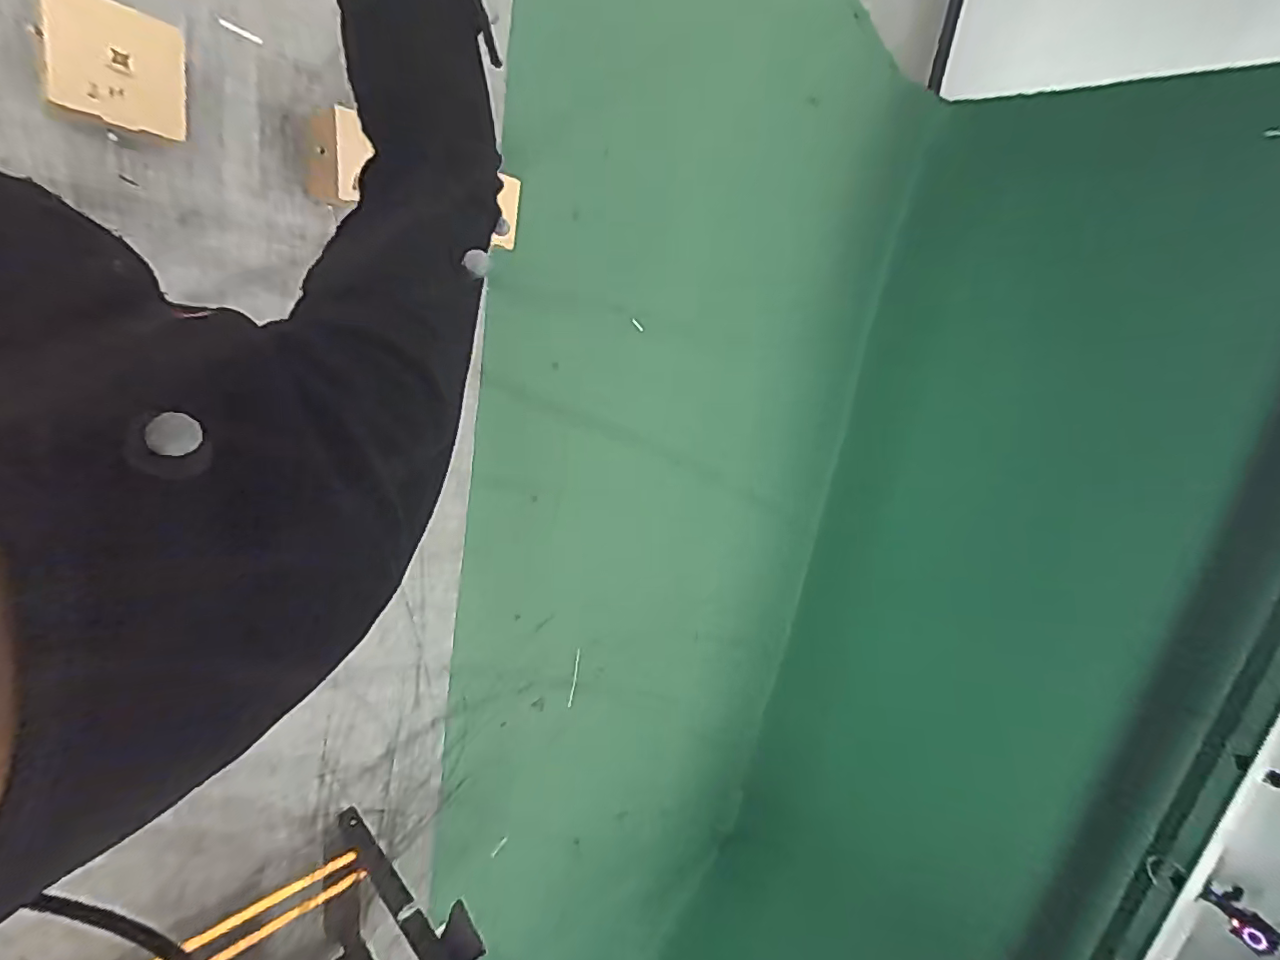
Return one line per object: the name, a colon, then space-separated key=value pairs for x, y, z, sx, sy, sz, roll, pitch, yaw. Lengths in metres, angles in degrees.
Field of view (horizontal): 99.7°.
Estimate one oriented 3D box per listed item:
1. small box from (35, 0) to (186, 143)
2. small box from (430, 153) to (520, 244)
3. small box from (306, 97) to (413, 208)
small box: x=-0.888 y=-0.699 z=0.910 sx=0.168 sy=0.176 sz=0.179 roll=-5 pitch=111 yaw=-49
small box: x=-0.444 y=-0.743 z=1.443 sx=0.168 sy=0.176 sz=0.179 roll=-7 pitch=113 yaw=-48
small box: x=-0.631 y=-0.724 z=1.219 sx=0.168 sy=0.176 sz=0.179 roll=-13 pitch=116 yaw=-48
